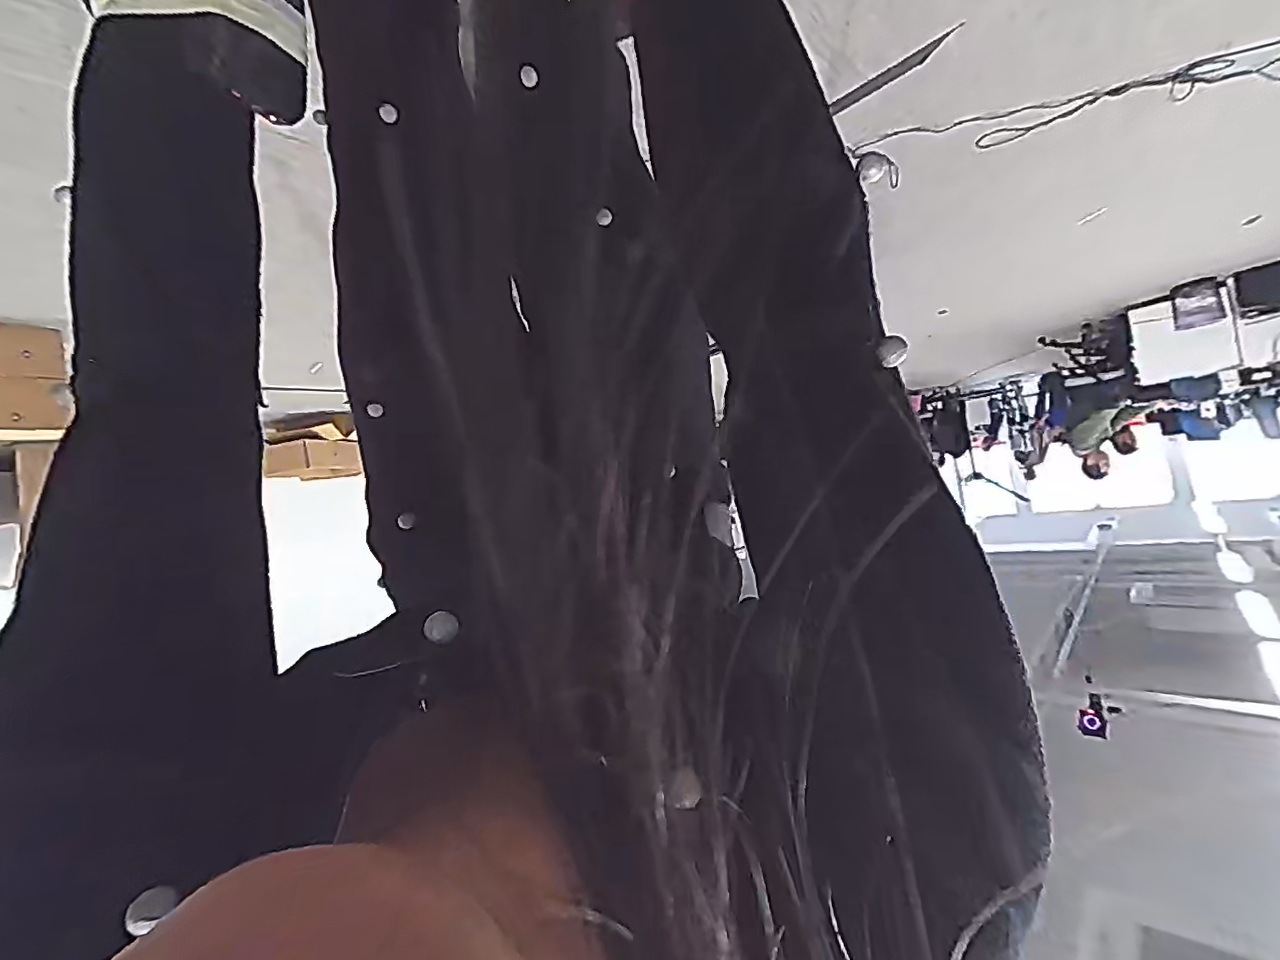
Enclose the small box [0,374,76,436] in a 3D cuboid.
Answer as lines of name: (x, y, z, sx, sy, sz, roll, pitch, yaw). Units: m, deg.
small box: (-1.962, -0.242, 1.741, 0.168, 0.176, 0.179, -8, 180, 39)
